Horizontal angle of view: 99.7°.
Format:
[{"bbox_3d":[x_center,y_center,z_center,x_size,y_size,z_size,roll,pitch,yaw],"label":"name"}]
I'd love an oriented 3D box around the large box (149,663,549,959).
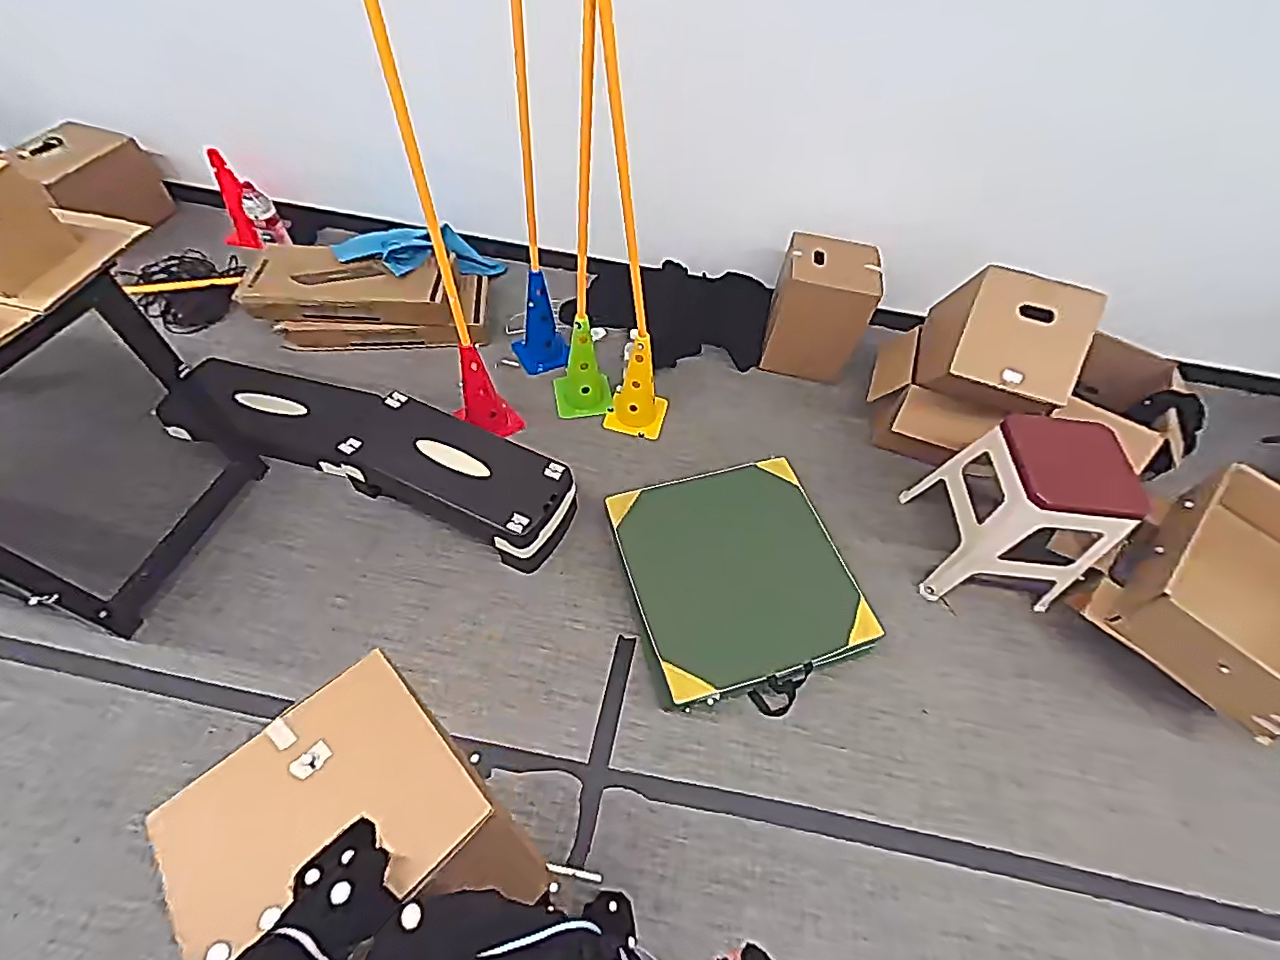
[{"bbox_3d":[-0.385,0.552,0.796,0.320,0.408,0.320,-37,52,-28],"label":"large box"}]
